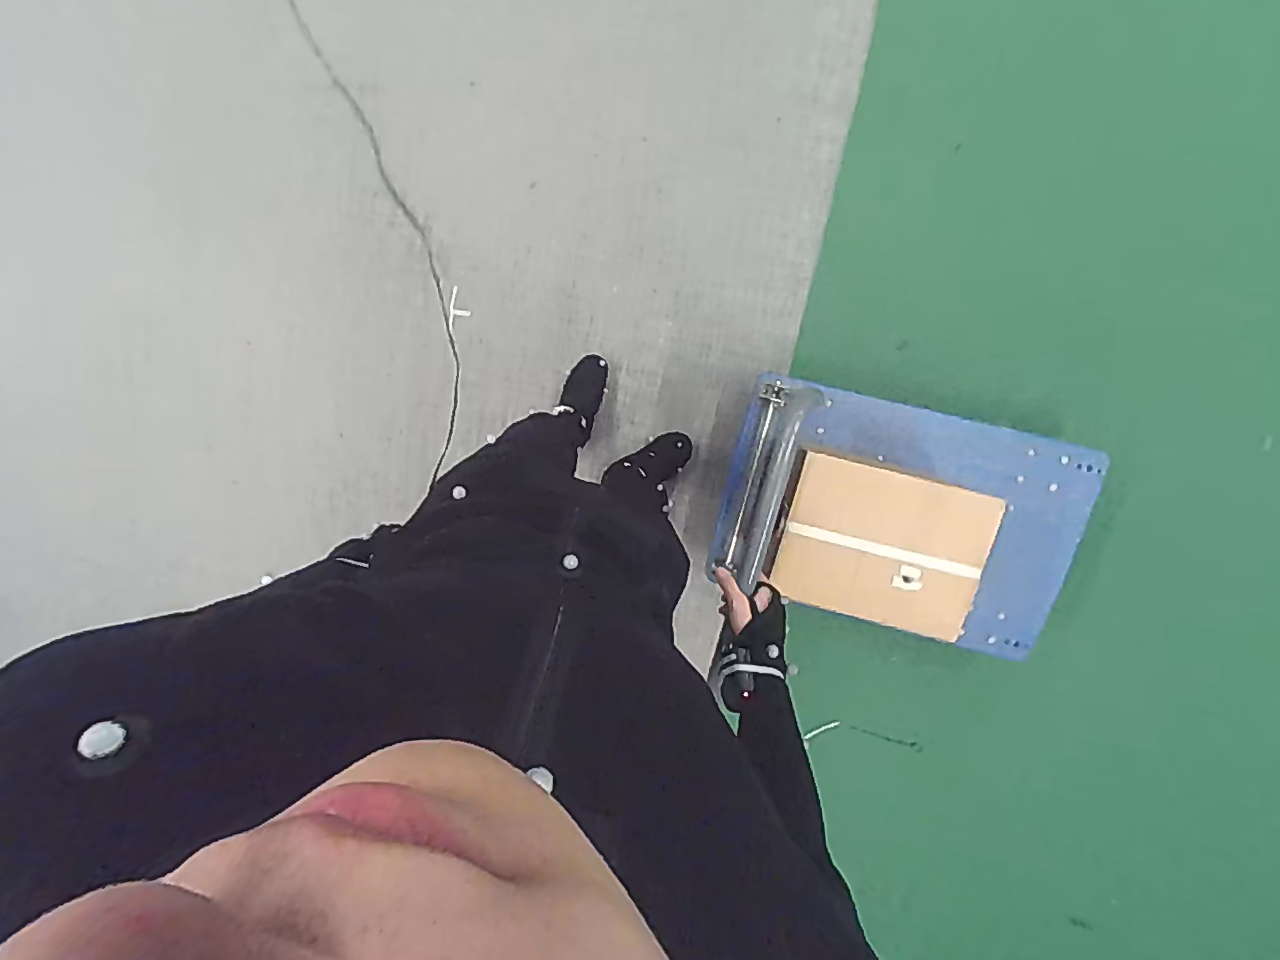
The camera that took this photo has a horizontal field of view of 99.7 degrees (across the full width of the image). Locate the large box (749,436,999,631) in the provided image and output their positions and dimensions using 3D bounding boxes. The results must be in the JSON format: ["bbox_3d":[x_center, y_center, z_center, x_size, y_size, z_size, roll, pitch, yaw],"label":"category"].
[{"bbox_3d":[0.499,0.099,1.253,0.408,0.320,0.320,15,102,2],"label":"large box"}]
